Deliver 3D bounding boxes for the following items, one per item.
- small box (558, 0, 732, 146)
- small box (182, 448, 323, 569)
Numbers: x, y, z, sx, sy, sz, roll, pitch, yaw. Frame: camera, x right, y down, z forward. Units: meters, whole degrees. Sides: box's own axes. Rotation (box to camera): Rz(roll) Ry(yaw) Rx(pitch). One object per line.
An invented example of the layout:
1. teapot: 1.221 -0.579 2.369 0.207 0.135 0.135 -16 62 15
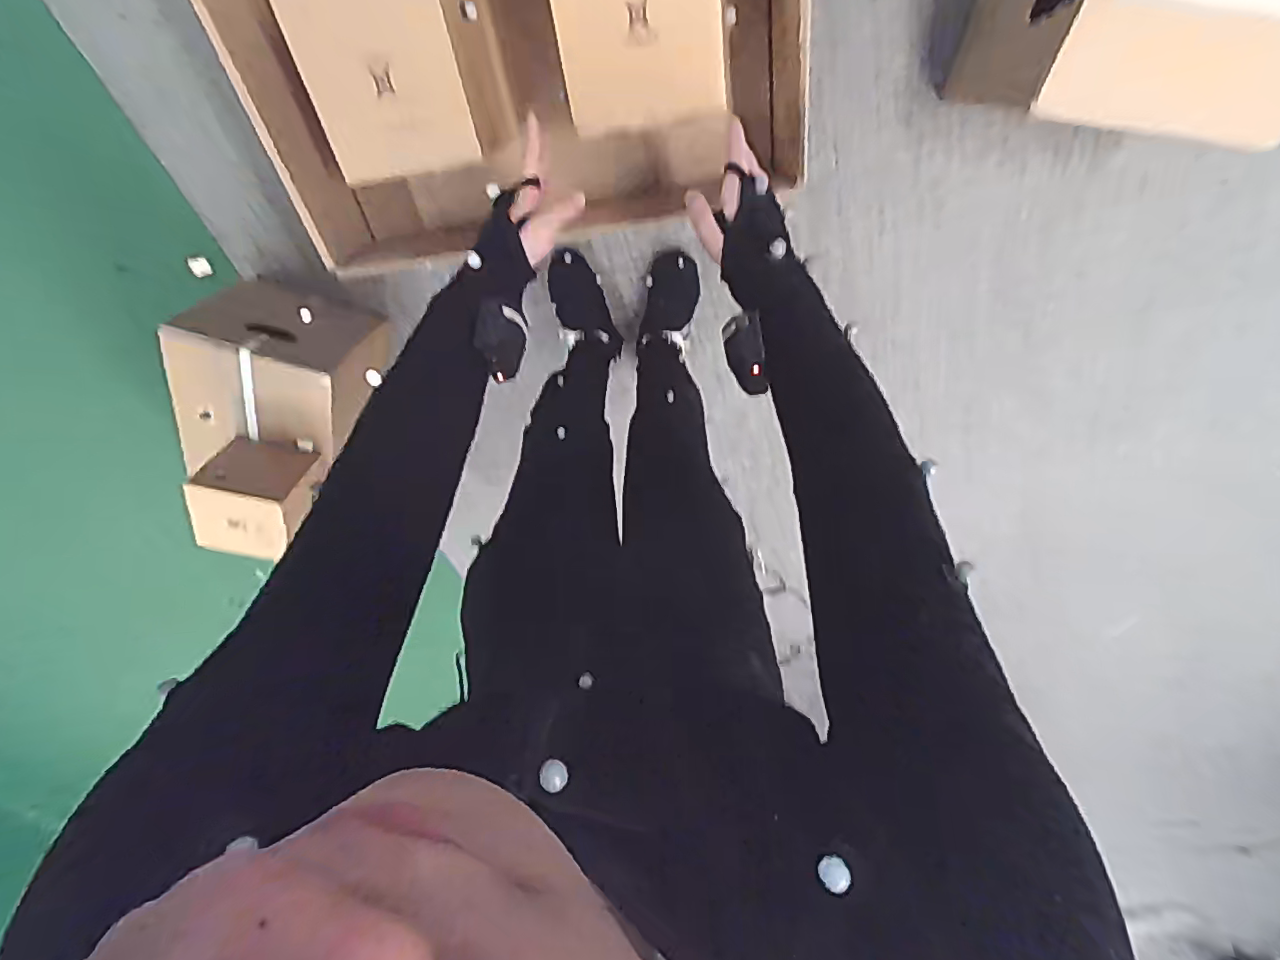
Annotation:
1. small box: 0.005 -0.489 0.596 0.168 0.176 0.179 -7 128 5
2. small box: -0.788 0.054 1.119 0.179 0.176 0.168 14 125 -12
